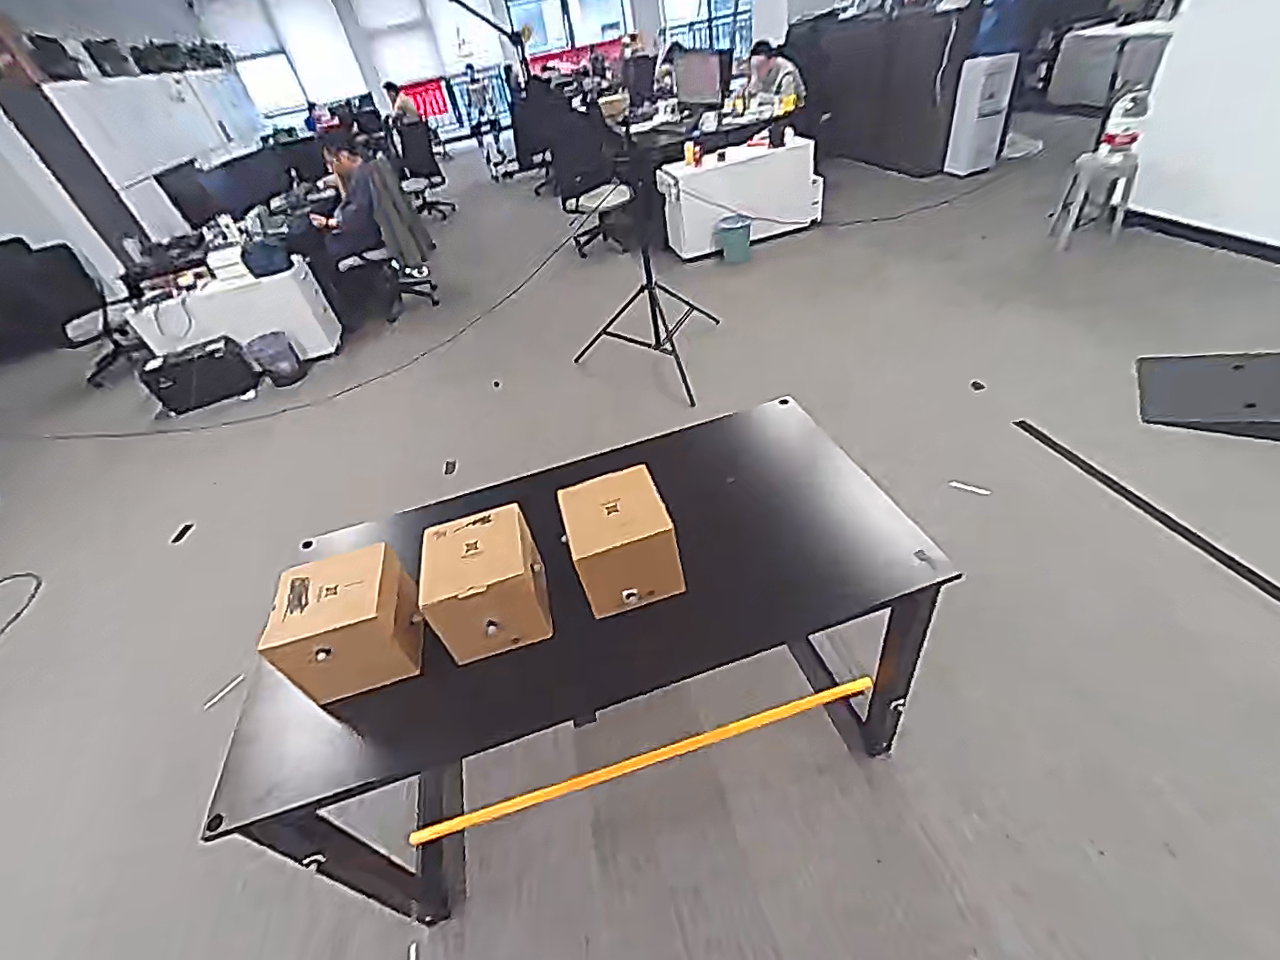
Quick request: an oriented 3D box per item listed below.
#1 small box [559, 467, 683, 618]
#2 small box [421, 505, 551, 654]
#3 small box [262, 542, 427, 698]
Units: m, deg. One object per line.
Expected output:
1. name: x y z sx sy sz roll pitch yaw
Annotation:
1. small box: -0.033 0.110 0.959 0.168 0.176 0.179 -18 41 -5
2. small box: -0.259 0.178 0.935 0.168 0.176 0.179 -16 41 -4
3. small box: -0.483 0.239 0.917 0.179 0.176 0.168 -16 41 -6
